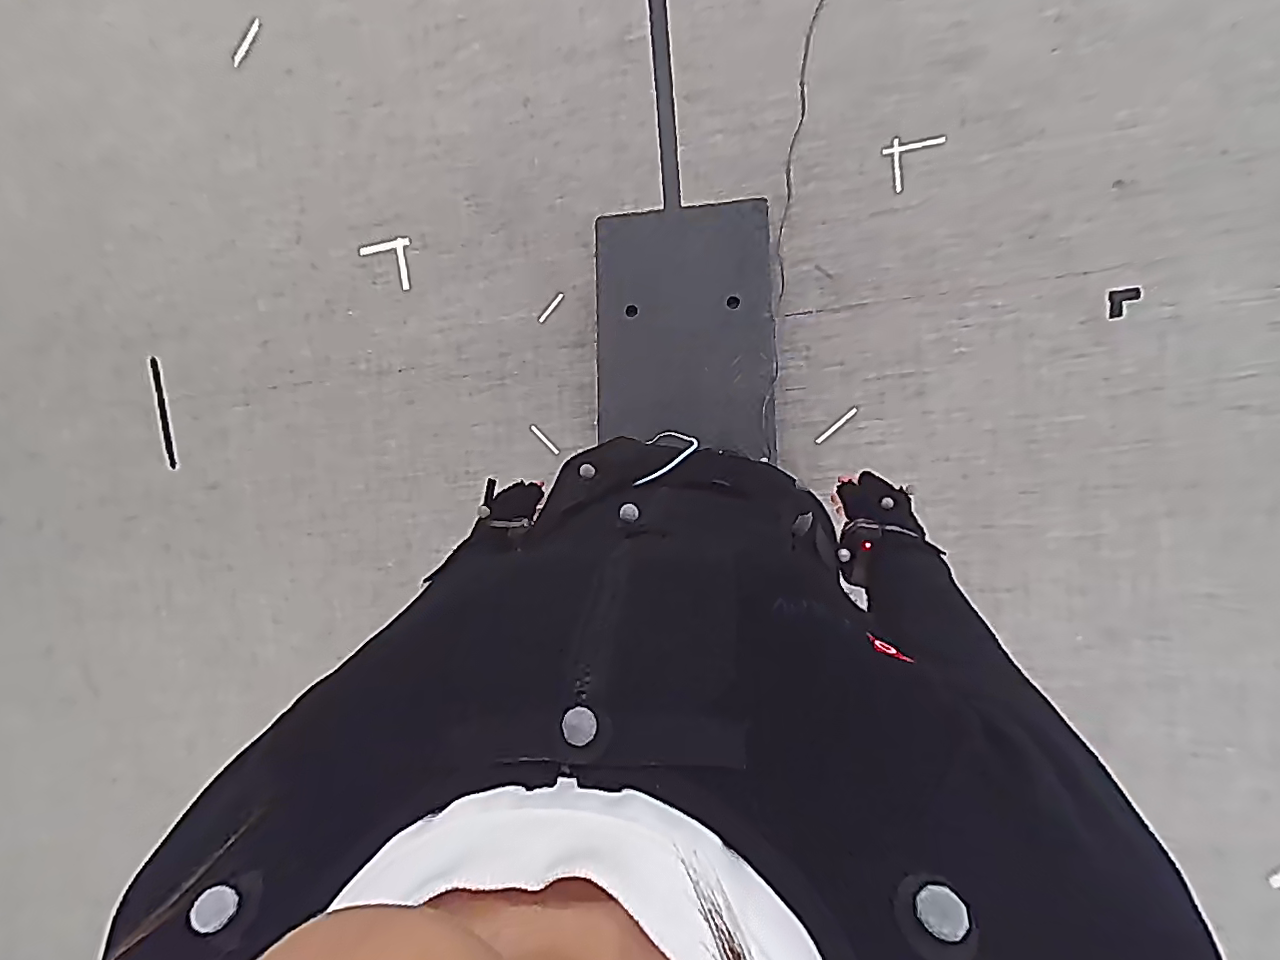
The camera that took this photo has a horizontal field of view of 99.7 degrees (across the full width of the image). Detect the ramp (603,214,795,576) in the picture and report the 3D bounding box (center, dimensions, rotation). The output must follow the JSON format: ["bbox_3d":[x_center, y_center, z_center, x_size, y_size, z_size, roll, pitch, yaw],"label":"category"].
[{"bbox_3d":[0.144,-0.242,1.507,0.509,0.206,0.991,-5,92,12],"label":"ramp"}]
